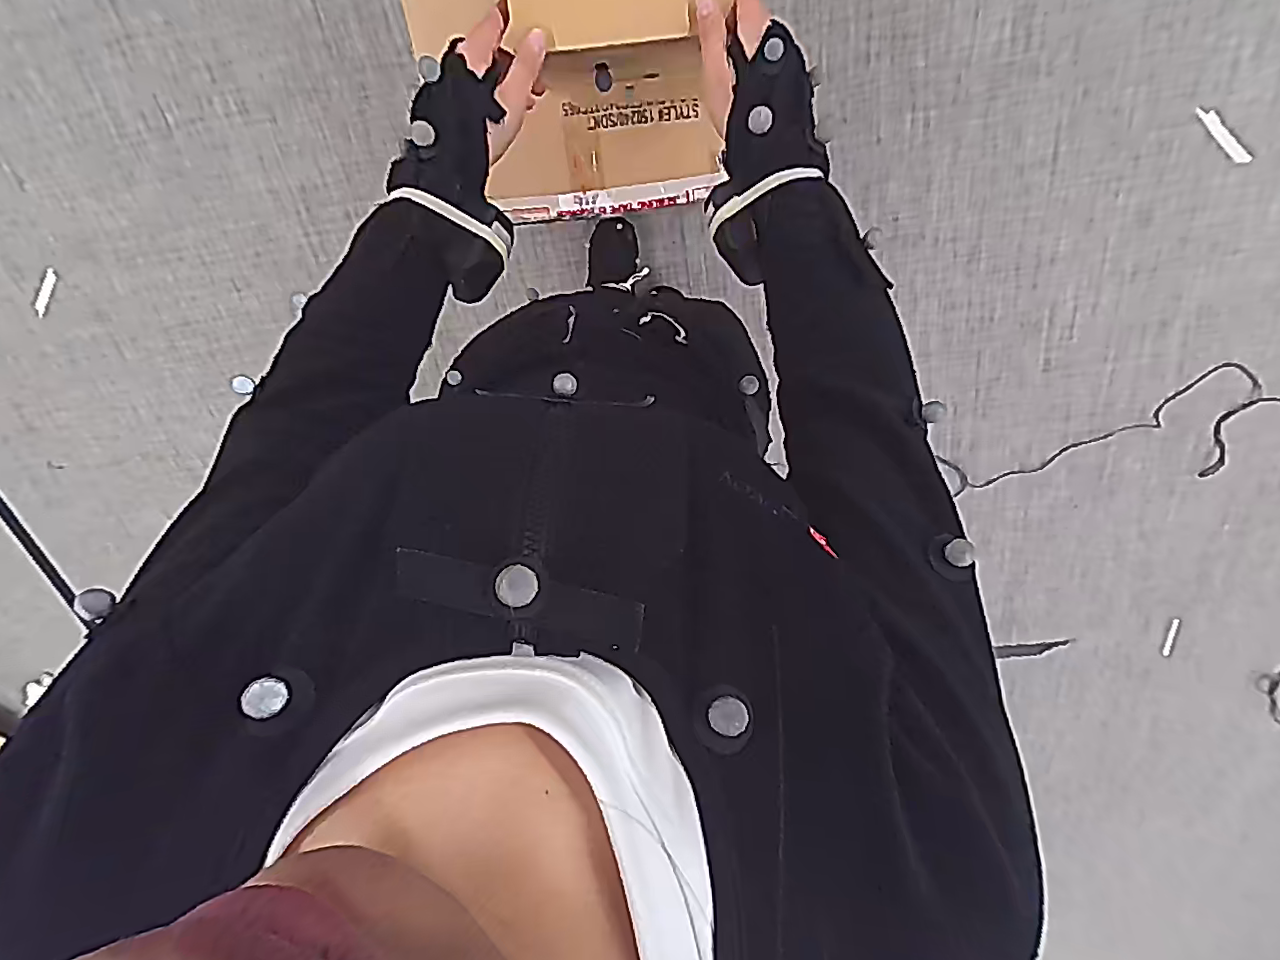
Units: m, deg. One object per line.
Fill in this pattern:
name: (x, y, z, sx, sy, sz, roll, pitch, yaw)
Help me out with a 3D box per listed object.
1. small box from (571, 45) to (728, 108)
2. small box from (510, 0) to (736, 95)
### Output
small box: (-0.001, -0.508, 0.574, 0.179, 0.176, 0.168, -2, 117, 2)
small box: (-0.014, -0.429, 0.433, 0.168, 0.176, 0.179, -4, 116, 3)
